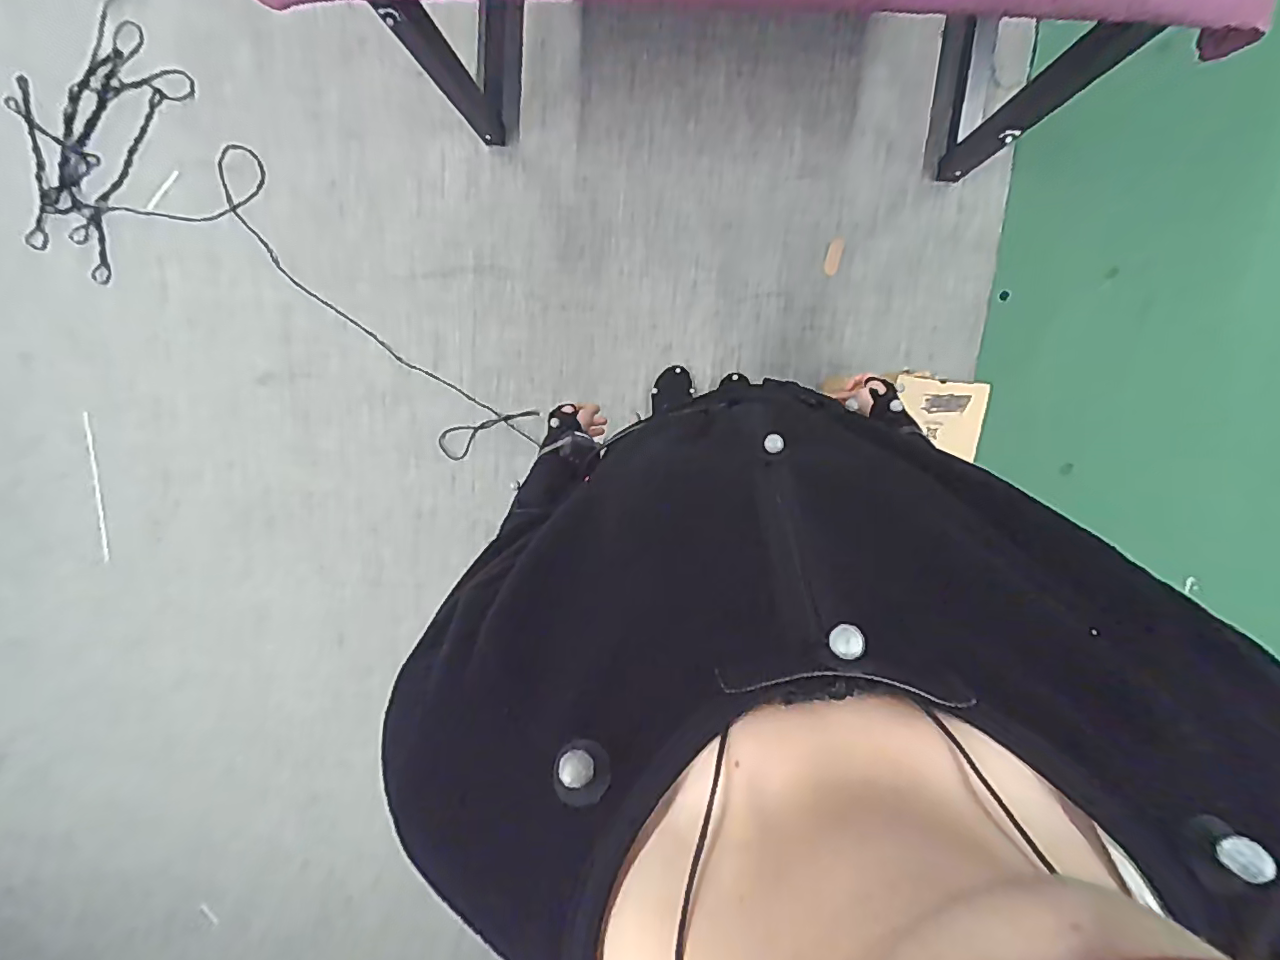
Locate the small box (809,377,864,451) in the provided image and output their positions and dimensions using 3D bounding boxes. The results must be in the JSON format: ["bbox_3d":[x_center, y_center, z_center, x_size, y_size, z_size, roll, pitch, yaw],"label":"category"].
[{"bbox_3d":[0.548,-0.158,1.367,0.179,0.176,0.168,15,101,1],"label":"small box"}]

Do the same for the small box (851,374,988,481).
[{"bbox_3d":[0.525,-0.107,1.043,0.168,0.176,0.179,7,102,2],"label":"small box"}]
